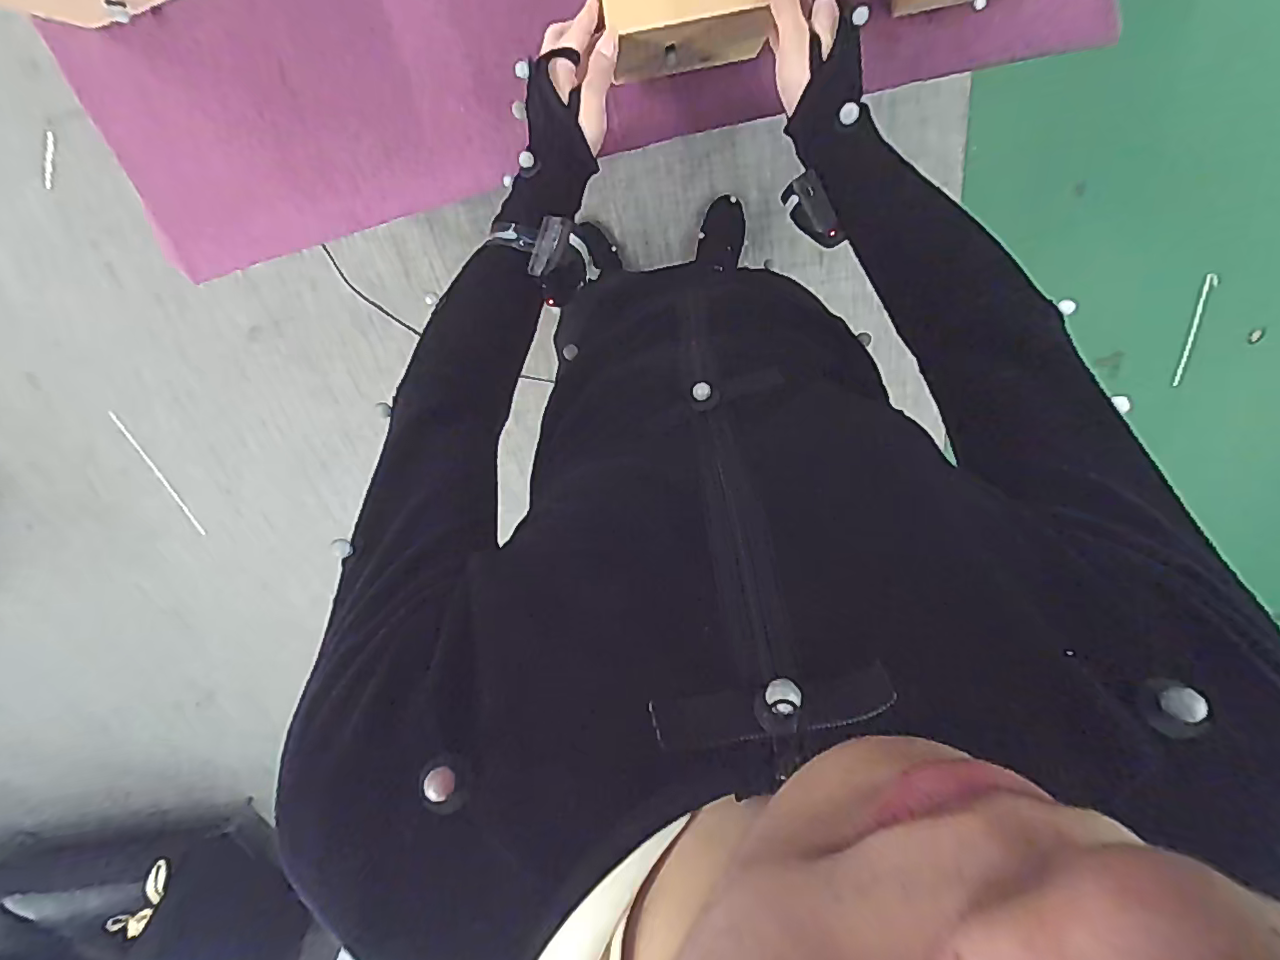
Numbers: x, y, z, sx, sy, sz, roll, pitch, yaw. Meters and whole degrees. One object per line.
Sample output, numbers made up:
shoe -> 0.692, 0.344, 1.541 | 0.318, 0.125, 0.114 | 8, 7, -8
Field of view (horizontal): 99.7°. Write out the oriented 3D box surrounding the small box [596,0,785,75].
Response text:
small box -> 0.036, -0.508, 0.505 | 0.168, 0.176, 0.179 | -9, 114, 4

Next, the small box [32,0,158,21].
small box -> -0.586, -0.584, 0.513 | 0.168, 0.176, 0.179 | -12, 120, 9
